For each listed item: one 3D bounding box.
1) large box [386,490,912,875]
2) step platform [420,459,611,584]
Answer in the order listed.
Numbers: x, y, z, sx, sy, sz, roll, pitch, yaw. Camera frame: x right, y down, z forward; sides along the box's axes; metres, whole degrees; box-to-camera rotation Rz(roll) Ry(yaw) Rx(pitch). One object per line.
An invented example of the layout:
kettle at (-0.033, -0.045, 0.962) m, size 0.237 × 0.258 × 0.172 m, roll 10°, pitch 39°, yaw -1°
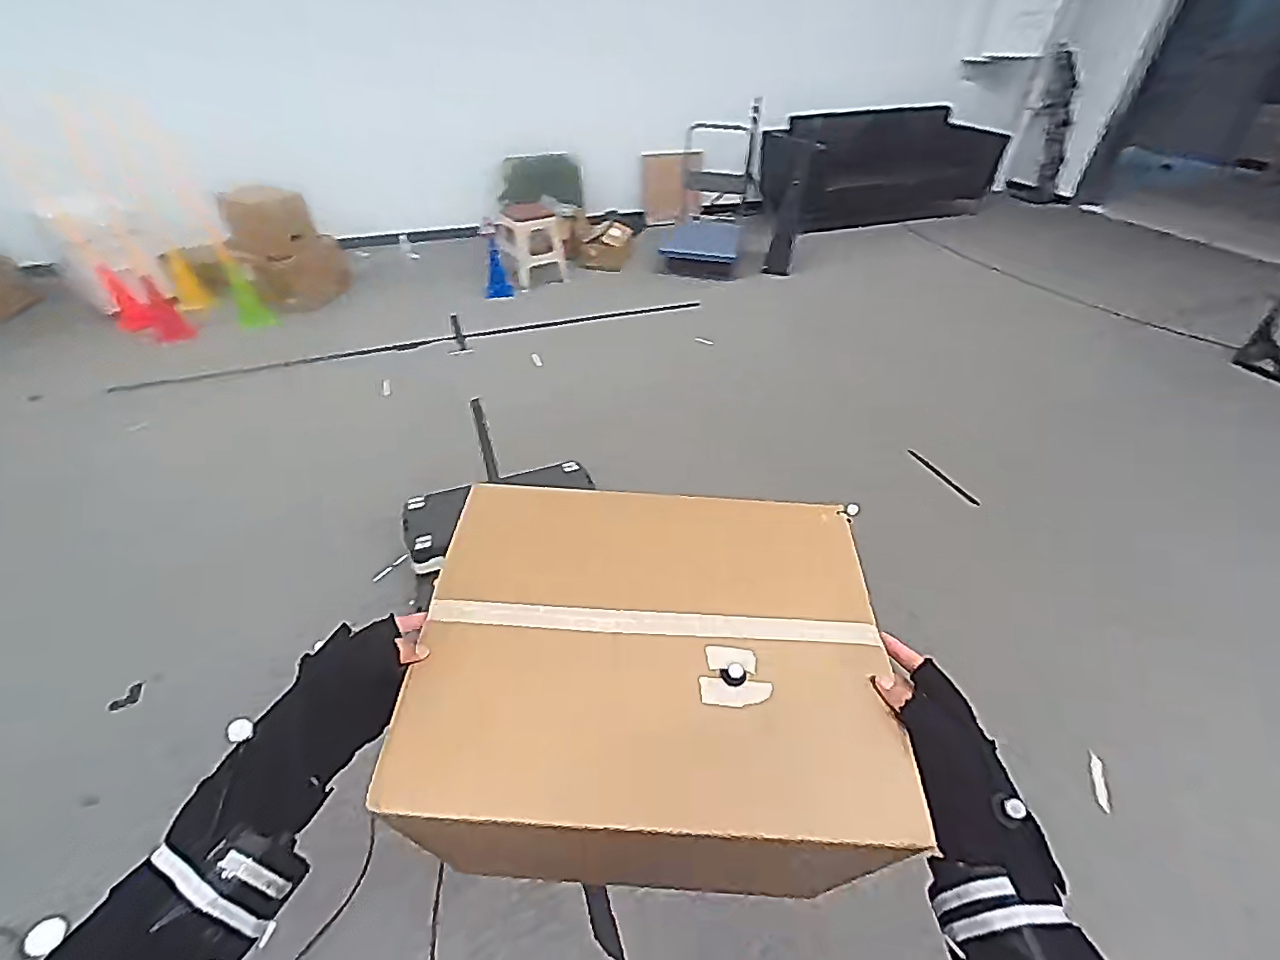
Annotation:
large box at (0.003, 0.232, 0.609) m, size 0.408 × 0.320 × 0.320 m, roll 3°, pitch 48°, yaw -1°
step platform at (-0.441, 0.135, 1.988) m, size 0.684 × 0.204 × 0.286 m, roll -14°, pitch 43°, yaw -18°
